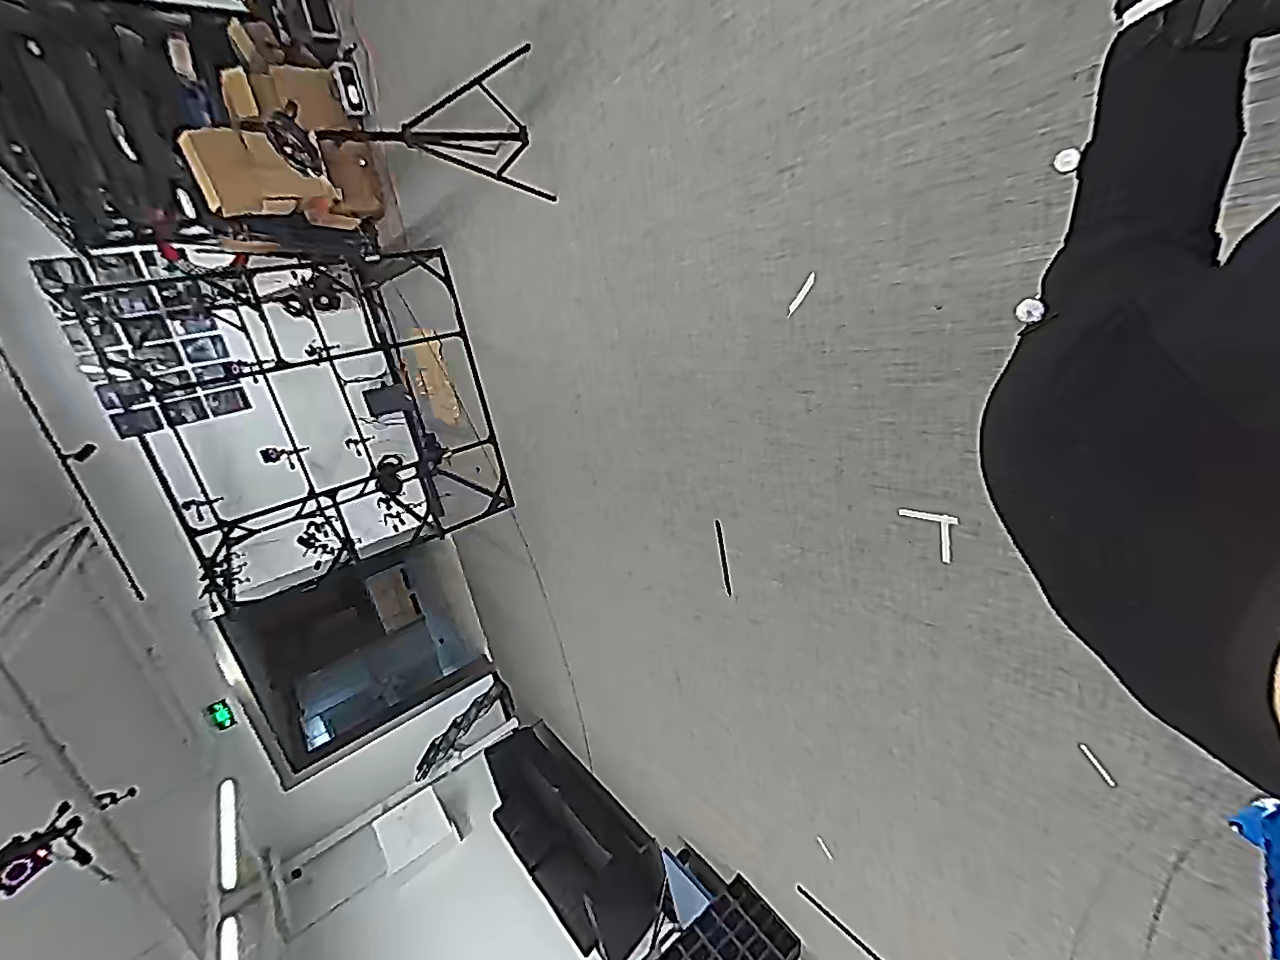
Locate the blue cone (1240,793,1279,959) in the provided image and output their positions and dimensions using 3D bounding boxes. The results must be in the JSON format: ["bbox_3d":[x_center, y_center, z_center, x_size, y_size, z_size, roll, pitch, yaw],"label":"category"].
[{"bbox_3d":[1.355,0.840,1.097,0.193,0.380,0.192,39,140,38],"label":"blue cone"}]
